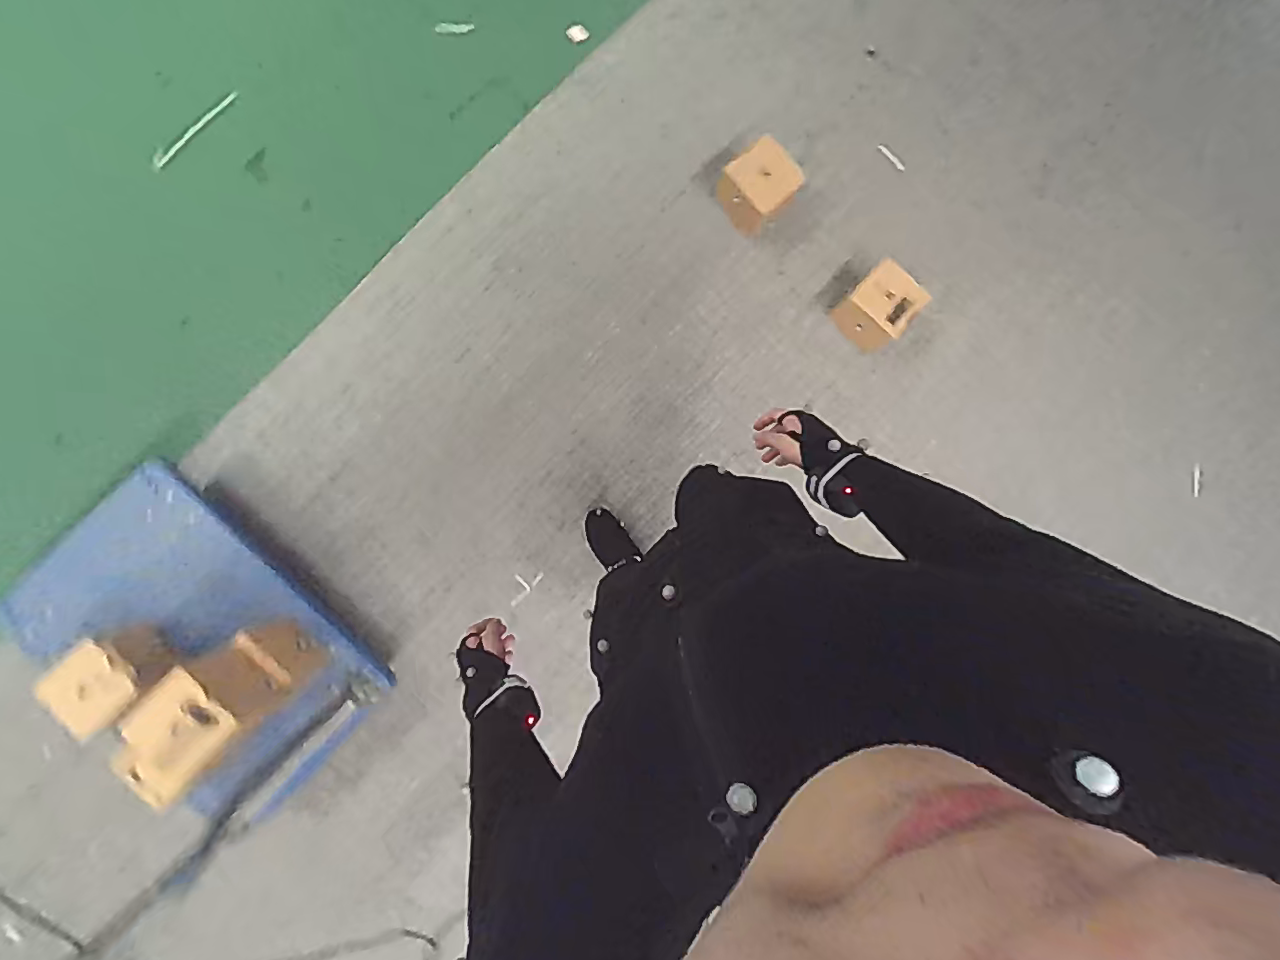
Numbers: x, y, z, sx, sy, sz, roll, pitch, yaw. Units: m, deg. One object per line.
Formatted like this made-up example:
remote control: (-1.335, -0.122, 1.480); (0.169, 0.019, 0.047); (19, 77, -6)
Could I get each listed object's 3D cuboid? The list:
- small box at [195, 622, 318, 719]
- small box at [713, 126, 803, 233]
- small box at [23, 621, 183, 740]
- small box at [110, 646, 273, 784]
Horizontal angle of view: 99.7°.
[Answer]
small box: (-0.921, 0.468, 1.316); (0.168, 0.176, 0.179); (-16, 91, -5)
small box: (0.335, -0.864, 1.574); (0.168, 0.176, 0.179); (-40, 91, -2)
small box: (-1.263, 0.467, 1.288); (0.179, 0.176, 0.168); (-43, 92, -3)
small box: (-0.927, 0.483, 1.143); (0.168, 0.176, 0.179); (44, 88, -1)
